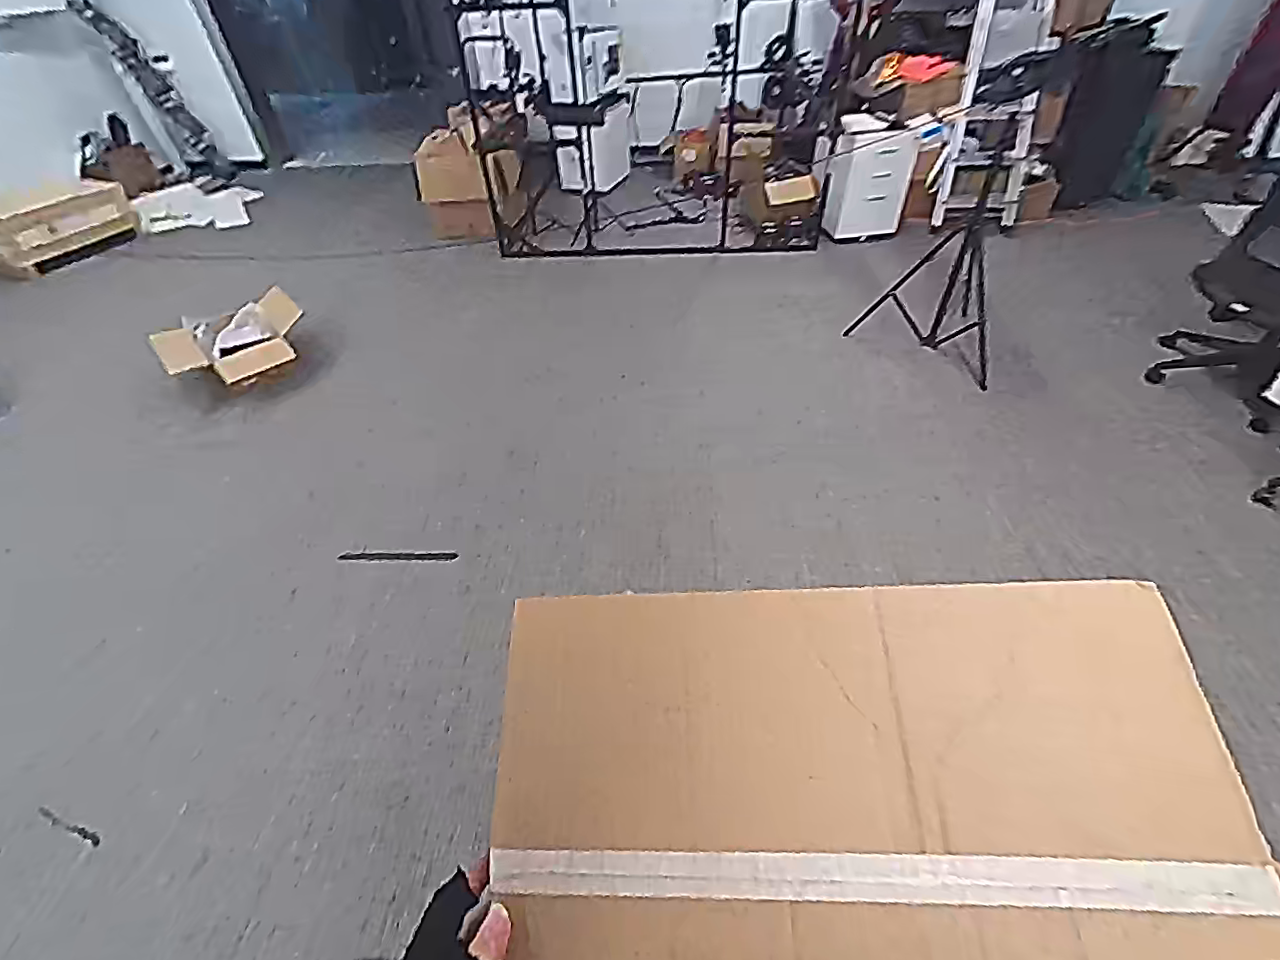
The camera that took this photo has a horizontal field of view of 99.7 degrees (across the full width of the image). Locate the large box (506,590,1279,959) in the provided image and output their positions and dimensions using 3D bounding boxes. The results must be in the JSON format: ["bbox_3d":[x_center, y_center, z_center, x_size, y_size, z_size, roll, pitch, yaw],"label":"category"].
[{"bbox_3d":[0.137,0.285,0.435,0.408,0.320,0.320,-4,66,7],"label":"large box"}]
